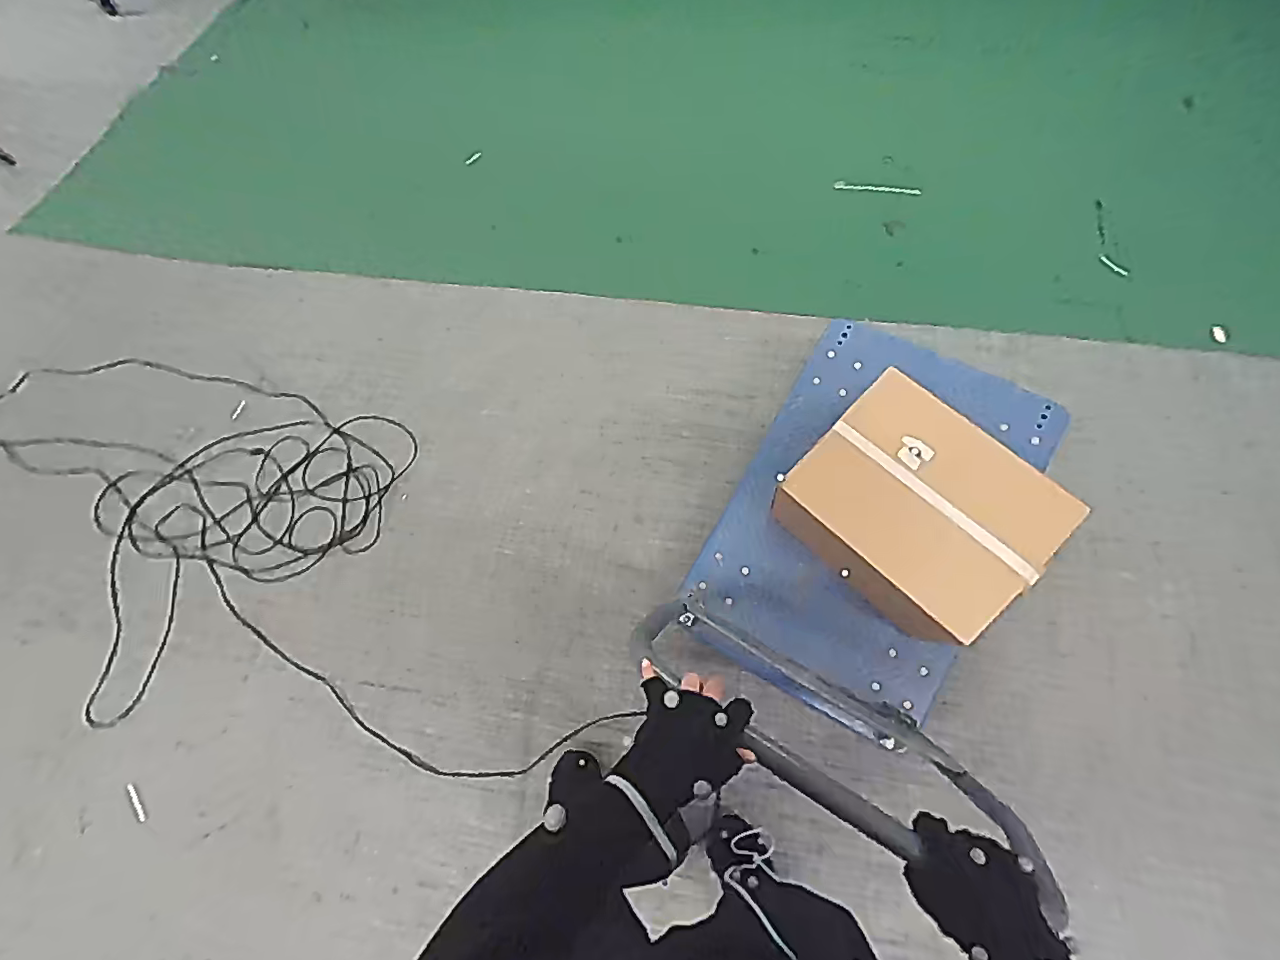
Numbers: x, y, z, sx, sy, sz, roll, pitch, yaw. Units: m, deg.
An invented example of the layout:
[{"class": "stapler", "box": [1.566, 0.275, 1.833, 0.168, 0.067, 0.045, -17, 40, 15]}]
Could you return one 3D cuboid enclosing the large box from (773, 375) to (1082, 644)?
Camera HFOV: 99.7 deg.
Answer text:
[{"class": "large box", "box": [0.524, 0.072, 1.088, 0.320, 0.320, 0.408, -45, 72, -3]}]
